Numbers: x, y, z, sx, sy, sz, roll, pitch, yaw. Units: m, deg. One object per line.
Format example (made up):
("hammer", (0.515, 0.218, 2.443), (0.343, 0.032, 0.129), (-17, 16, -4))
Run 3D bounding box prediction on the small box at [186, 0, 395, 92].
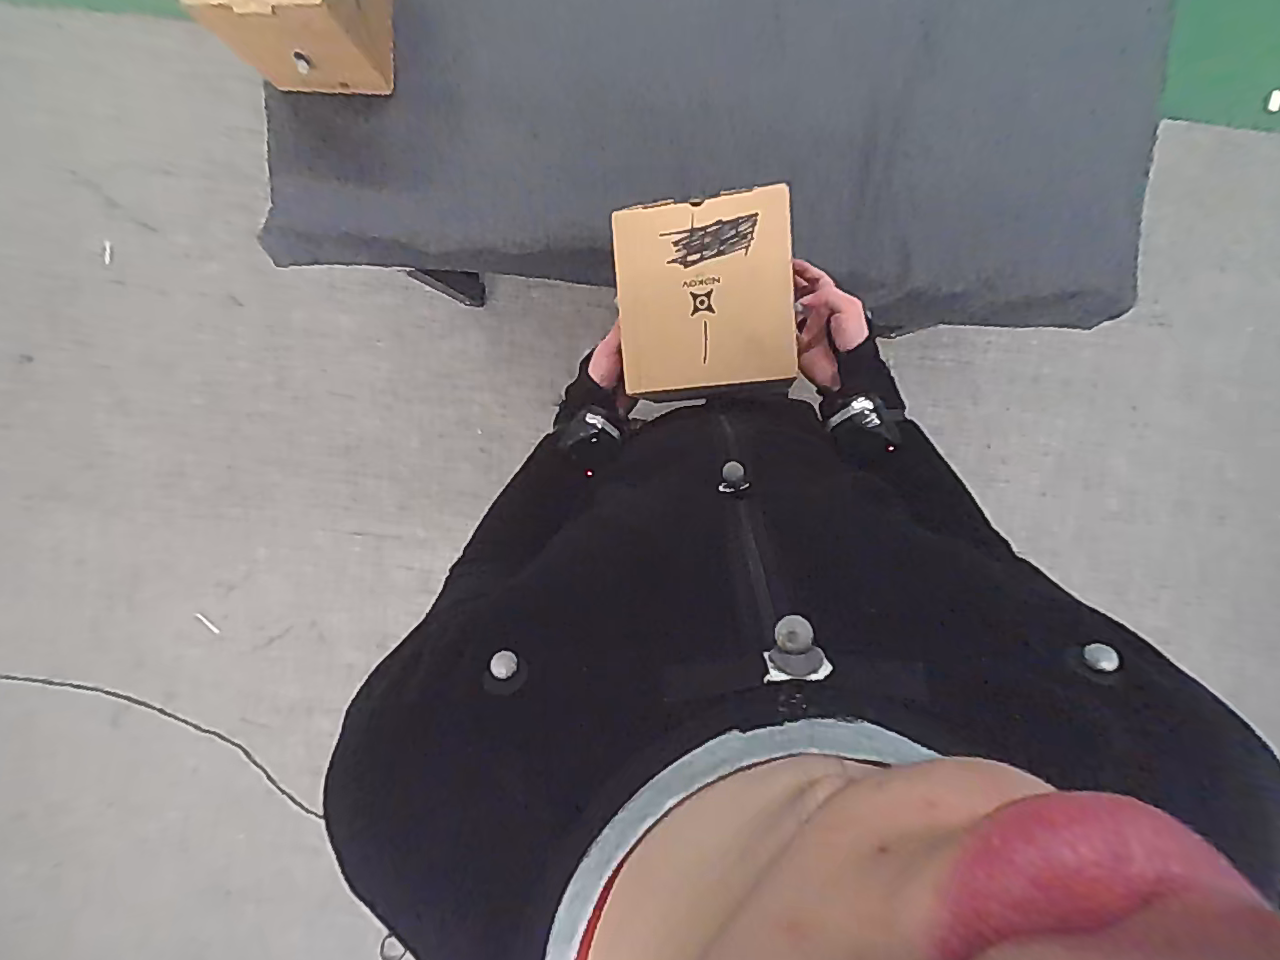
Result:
("small box", (-0.421, -0.618, 0.669), (0.168, 0.176, 0.179), (3, 98, 0))
